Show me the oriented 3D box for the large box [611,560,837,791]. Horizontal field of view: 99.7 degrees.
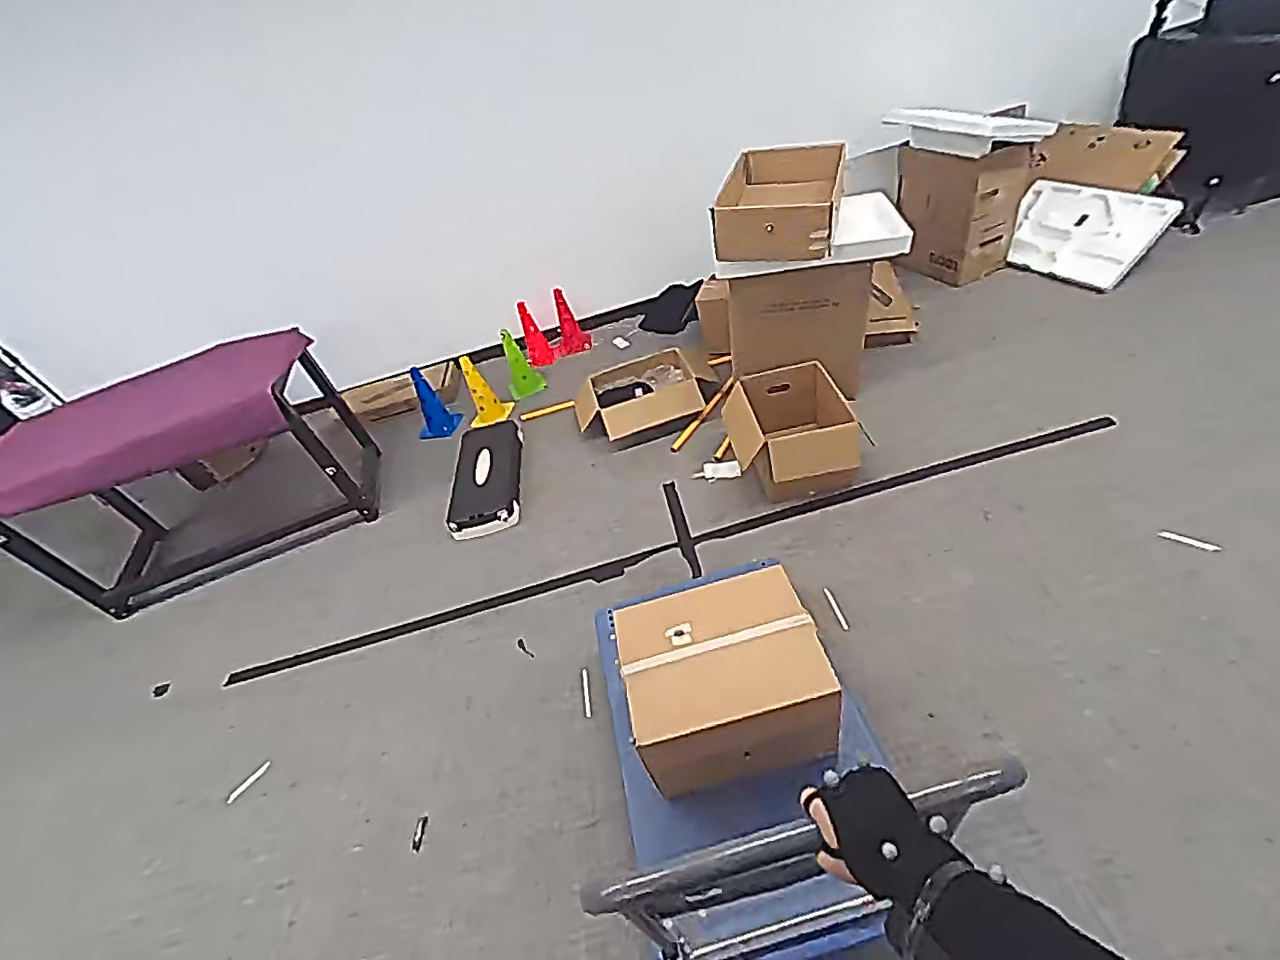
[{"bbox_3d":[0.185,0.441,1.217,0.408,0.320,0.320,-17,41,1],"label":"large box"}]
